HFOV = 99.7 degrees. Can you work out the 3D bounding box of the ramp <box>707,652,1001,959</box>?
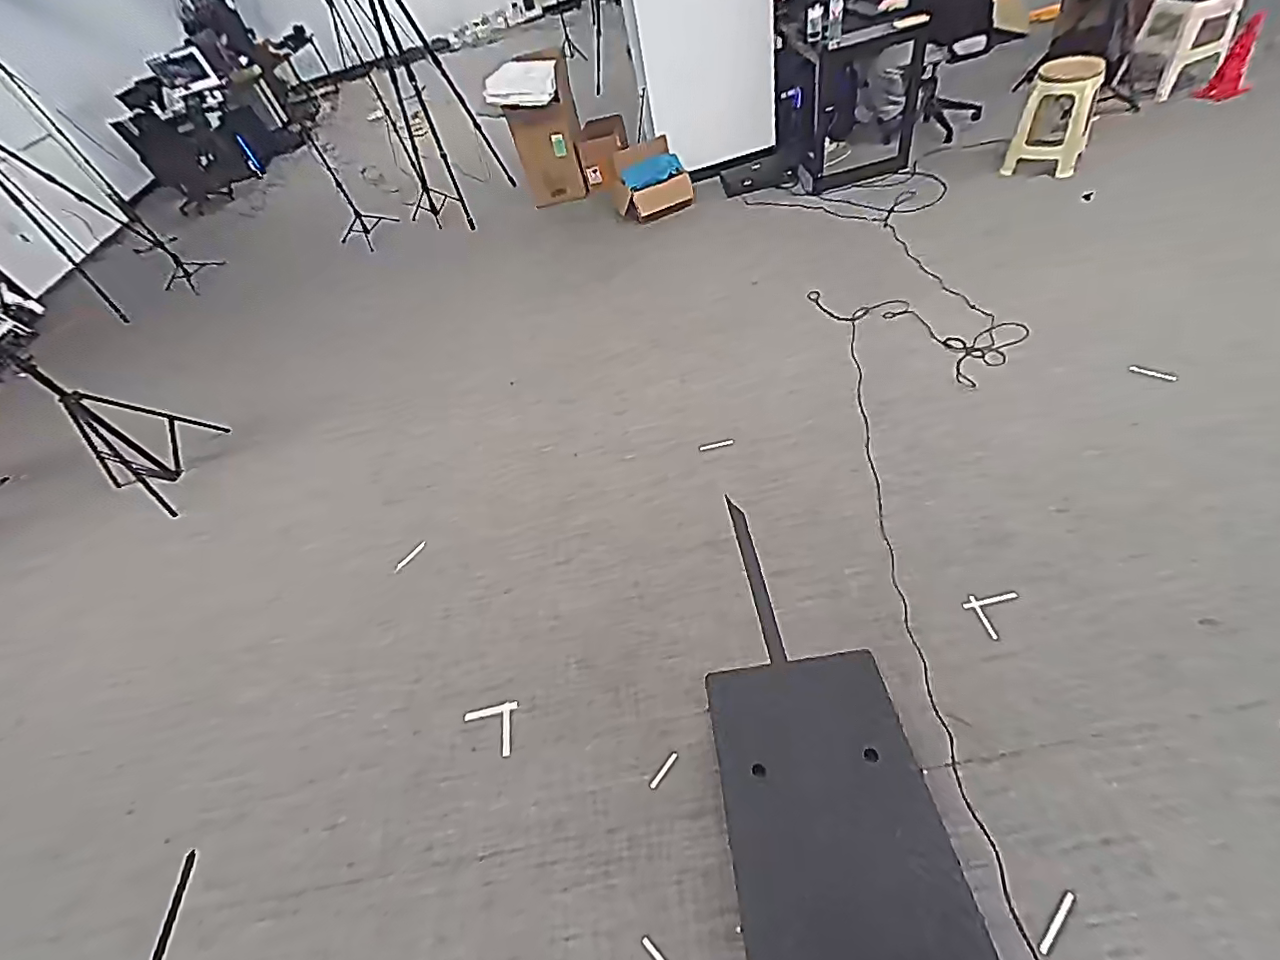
[{"bbox_3d":[0.454,0.864,1.219,0.509,0.206,0.991,-14,48,6],"label":"ramp"}]
